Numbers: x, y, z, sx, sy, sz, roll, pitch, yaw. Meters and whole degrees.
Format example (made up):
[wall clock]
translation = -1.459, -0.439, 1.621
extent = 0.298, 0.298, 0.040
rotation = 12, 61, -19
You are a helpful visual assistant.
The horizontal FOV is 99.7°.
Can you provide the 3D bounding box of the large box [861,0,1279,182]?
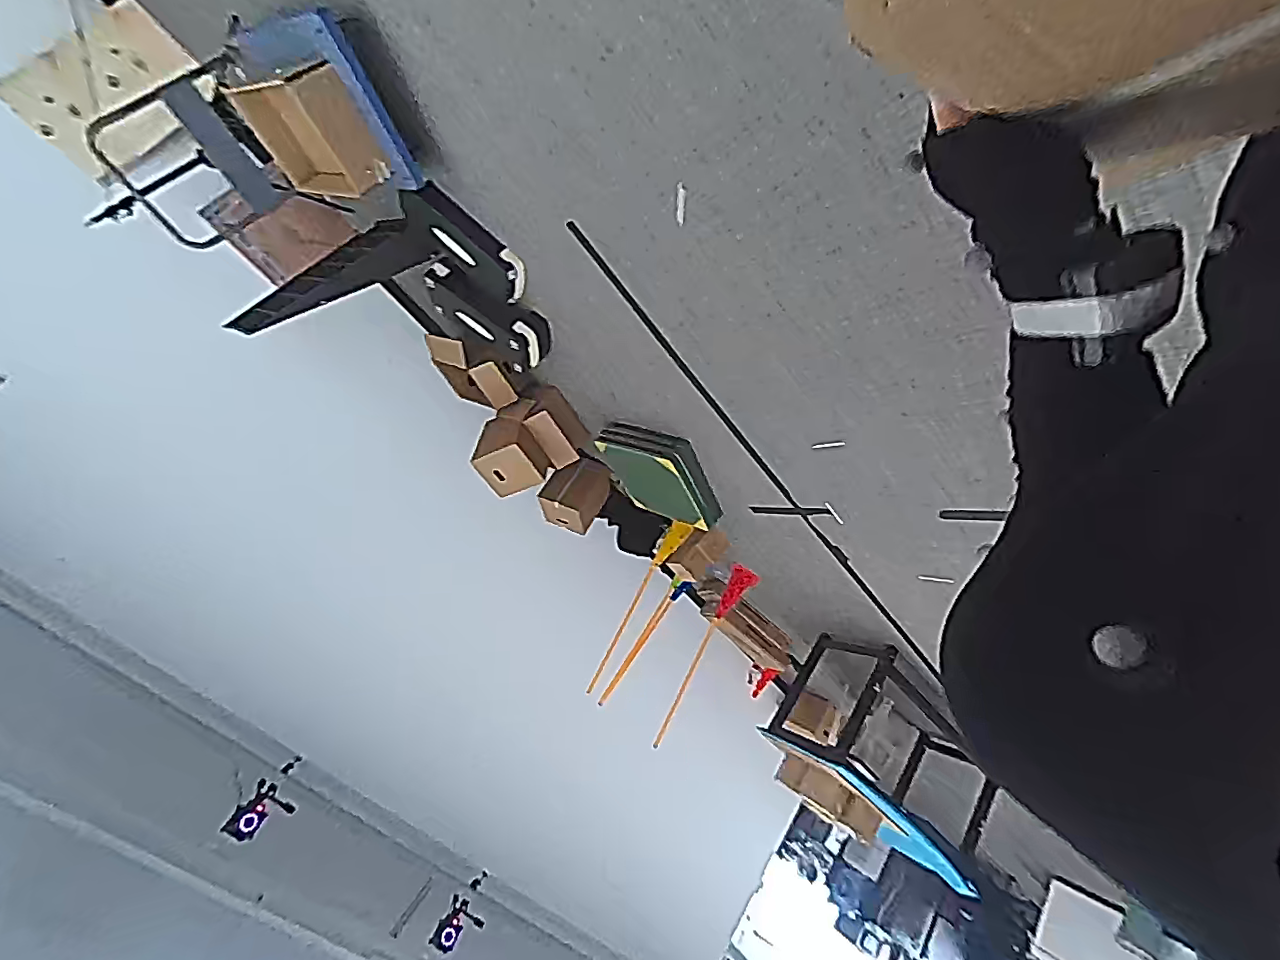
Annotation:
[large box]
translation = 0.305, -0.351, 0.132
extent = 0.408, 0.320, 0.320
rotation = -3, 94, 55
